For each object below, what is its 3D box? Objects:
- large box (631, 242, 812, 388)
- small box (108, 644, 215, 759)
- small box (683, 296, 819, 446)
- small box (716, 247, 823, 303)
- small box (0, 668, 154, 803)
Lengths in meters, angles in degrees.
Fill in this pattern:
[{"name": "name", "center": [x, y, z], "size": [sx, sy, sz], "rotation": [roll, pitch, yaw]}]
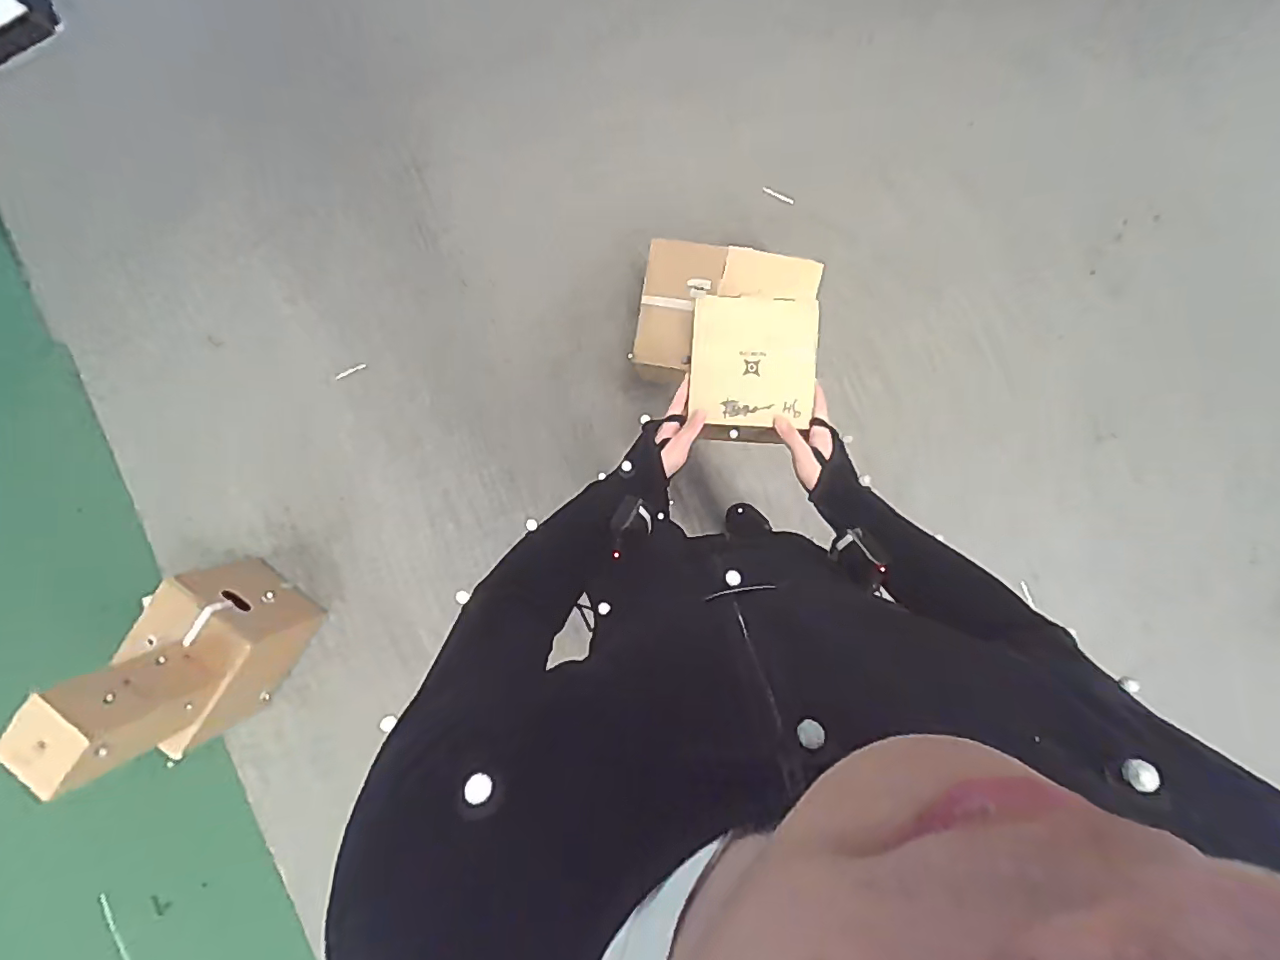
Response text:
[{"name": "large box", "center": [0.211, -0.408, 1.456], "size": [0.408, 0.320, 0.320], "rotation": [10, 92, 6]}, {"name": "small box", "center": [-1.230, 0.545, 1.360], "size": [0.168, 0.176, 0.179], "rotation": [37, 95, 3]}, {"name": "small box", "center": [0.152, -0.148, 0.788], "size": [0.168, 0.176, 0.179], "rotation": [4, 89, 3]}, {"name": "small box", "center": [0.231, -0.324, 1.047], "size": [0.179, 0.176, 0.168], "rotation": [14, 94, 6]}, {"name": "small box", "center": [-1.243, 0.552, 1.196], "size": [0.168, 0.176, 0.179], "rotation": [39, 95, 3]}]
